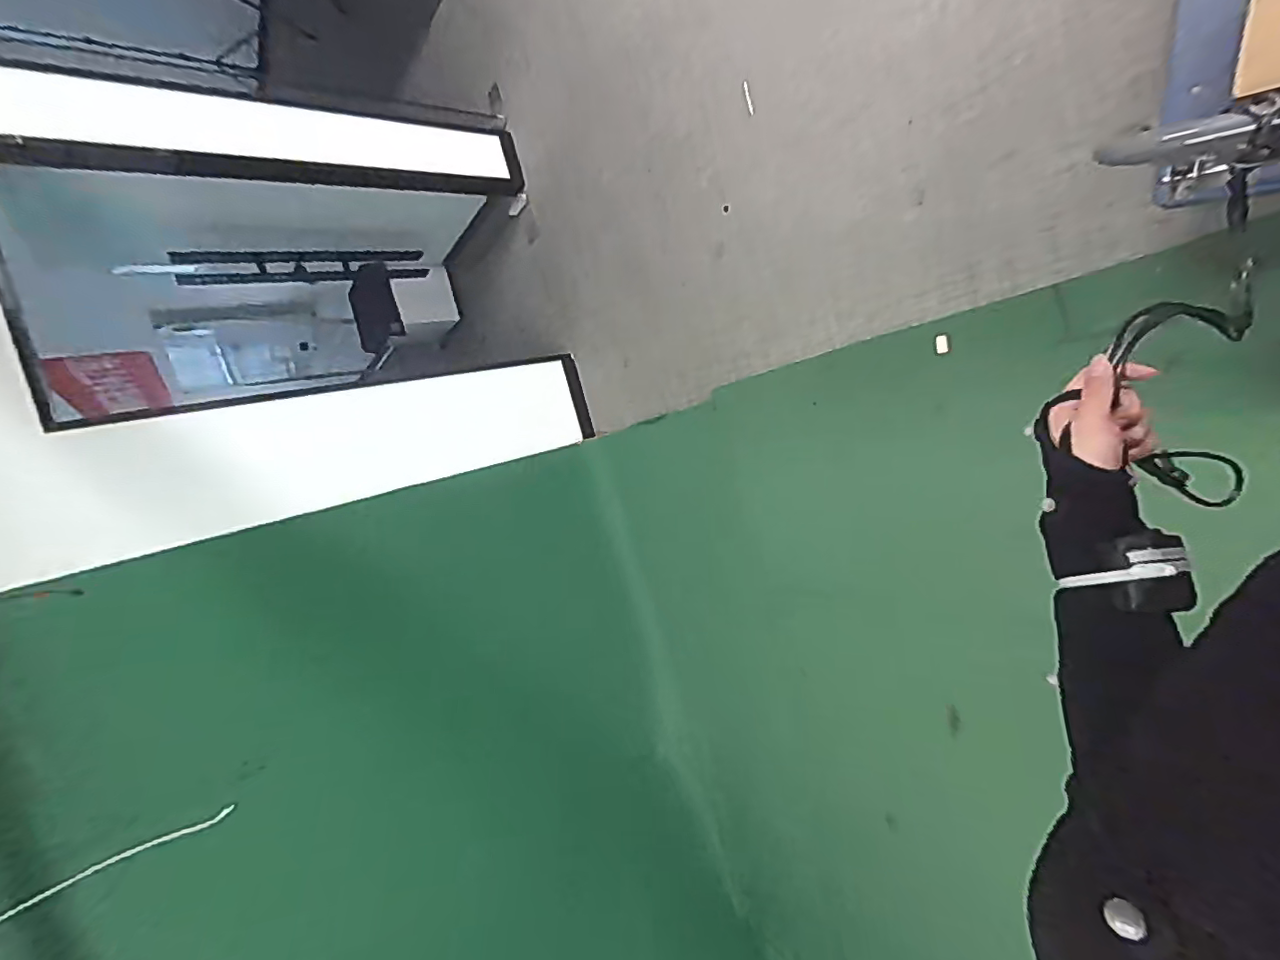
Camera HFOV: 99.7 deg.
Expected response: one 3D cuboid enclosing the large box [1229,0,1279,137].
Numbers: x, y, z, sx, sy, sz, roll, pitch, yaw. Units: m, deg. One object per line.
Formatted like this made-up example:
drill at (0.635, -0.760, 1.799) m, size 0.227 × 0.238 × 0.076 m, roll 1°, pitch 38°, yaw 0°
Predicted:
large box at (1.004, -0.716, 0.667) m, size 0.320 × 0.320 × 0.408 m, roll 13°, pitch 113°, yaw 48°
